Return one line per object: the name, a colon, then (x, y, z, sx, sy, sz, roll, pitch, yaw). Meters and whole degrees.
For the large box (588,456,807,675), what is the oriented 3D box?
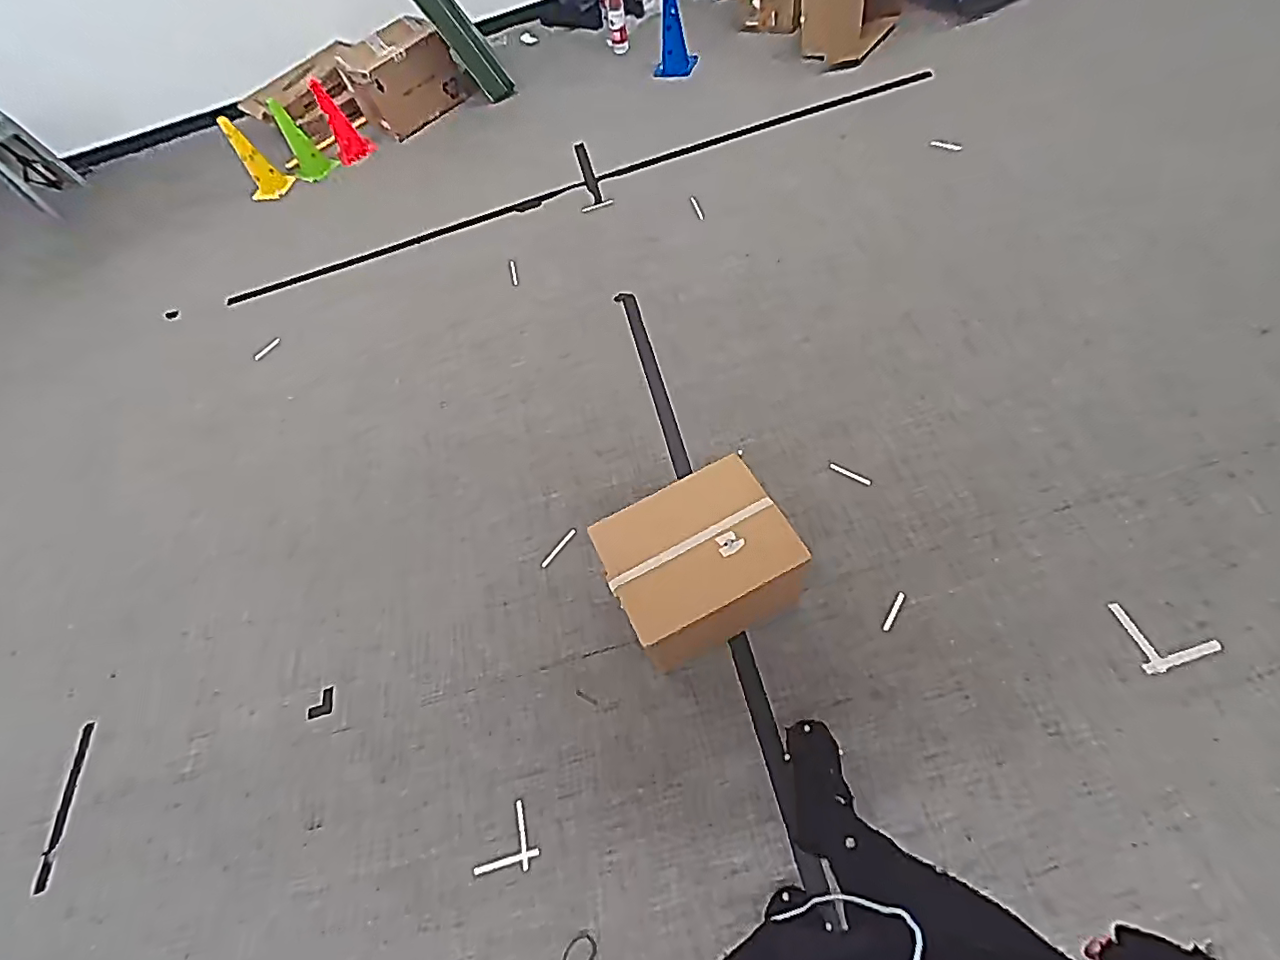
large box: (0.138, 0.219, 1.324, 0.408, 0.320, 0.320, -27, 60, -6)
